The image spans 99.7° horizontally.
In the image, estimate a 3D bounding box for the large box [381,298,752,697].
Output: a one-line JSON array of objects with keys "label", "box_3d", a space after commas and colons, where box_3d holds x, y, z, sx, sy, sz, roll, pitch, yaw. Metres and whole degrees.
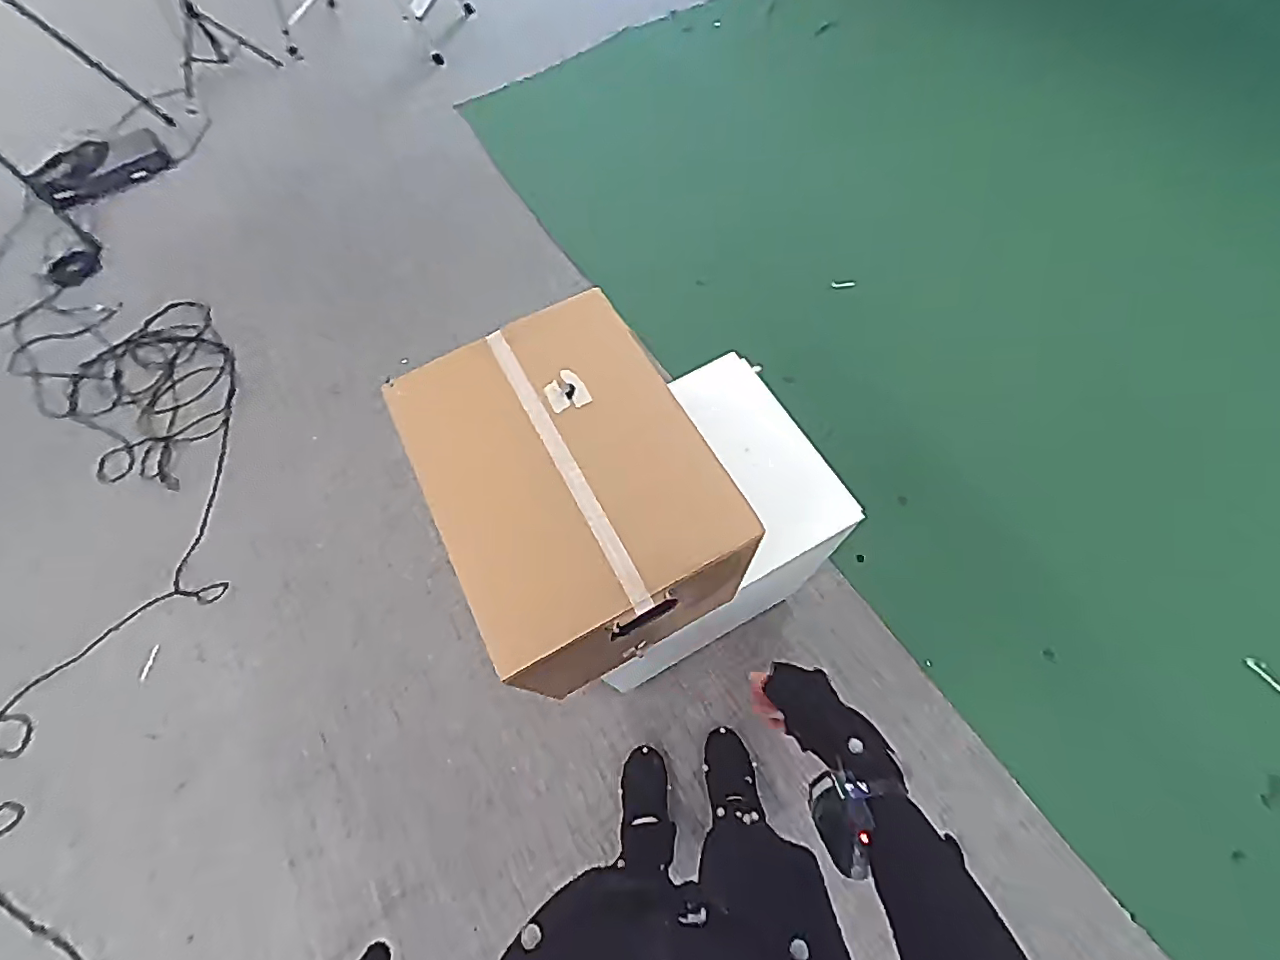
[{"label": "large box", "box_3d": [-0.091, 0.036, 0.766, 0.320, 0.320, 0.408, -28, 65, -9]}]
